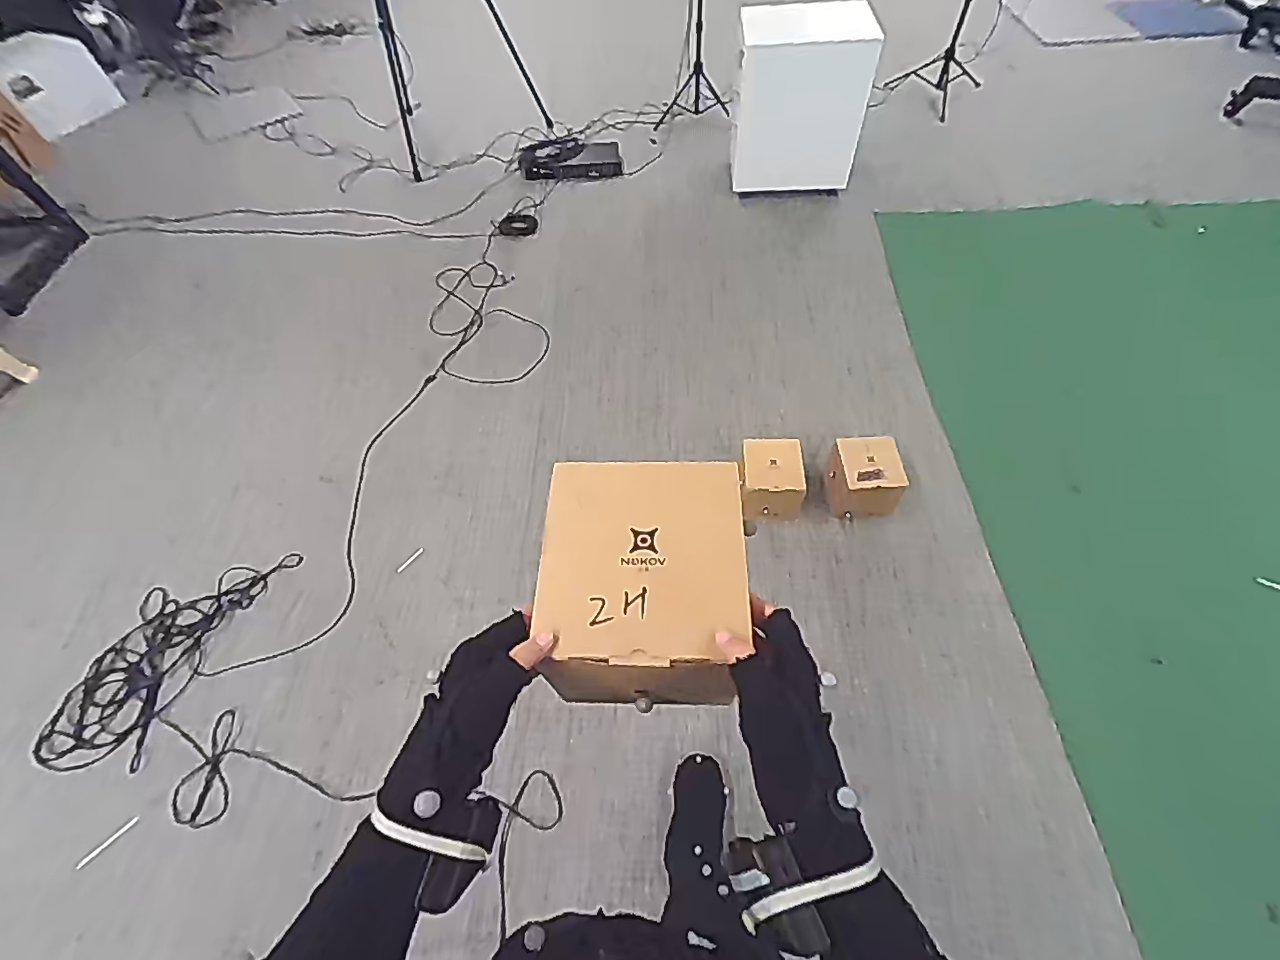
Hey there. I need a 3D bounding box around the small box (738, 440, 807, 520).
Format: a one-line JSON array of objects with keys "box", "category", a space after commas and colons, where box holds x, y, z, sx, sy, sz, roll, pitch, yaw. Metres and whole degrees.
[{"box": [0.383, 0.001, 1.591, 0.168, 0.176, 0.179, 1, 58, 4], "category": "small box"}]

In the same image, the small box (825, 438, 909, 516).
[{"box": [0.652, -0.002, 1.574, 0.168, 0.176, 0.179, -2, 57, 2], "category": "small box"}]
